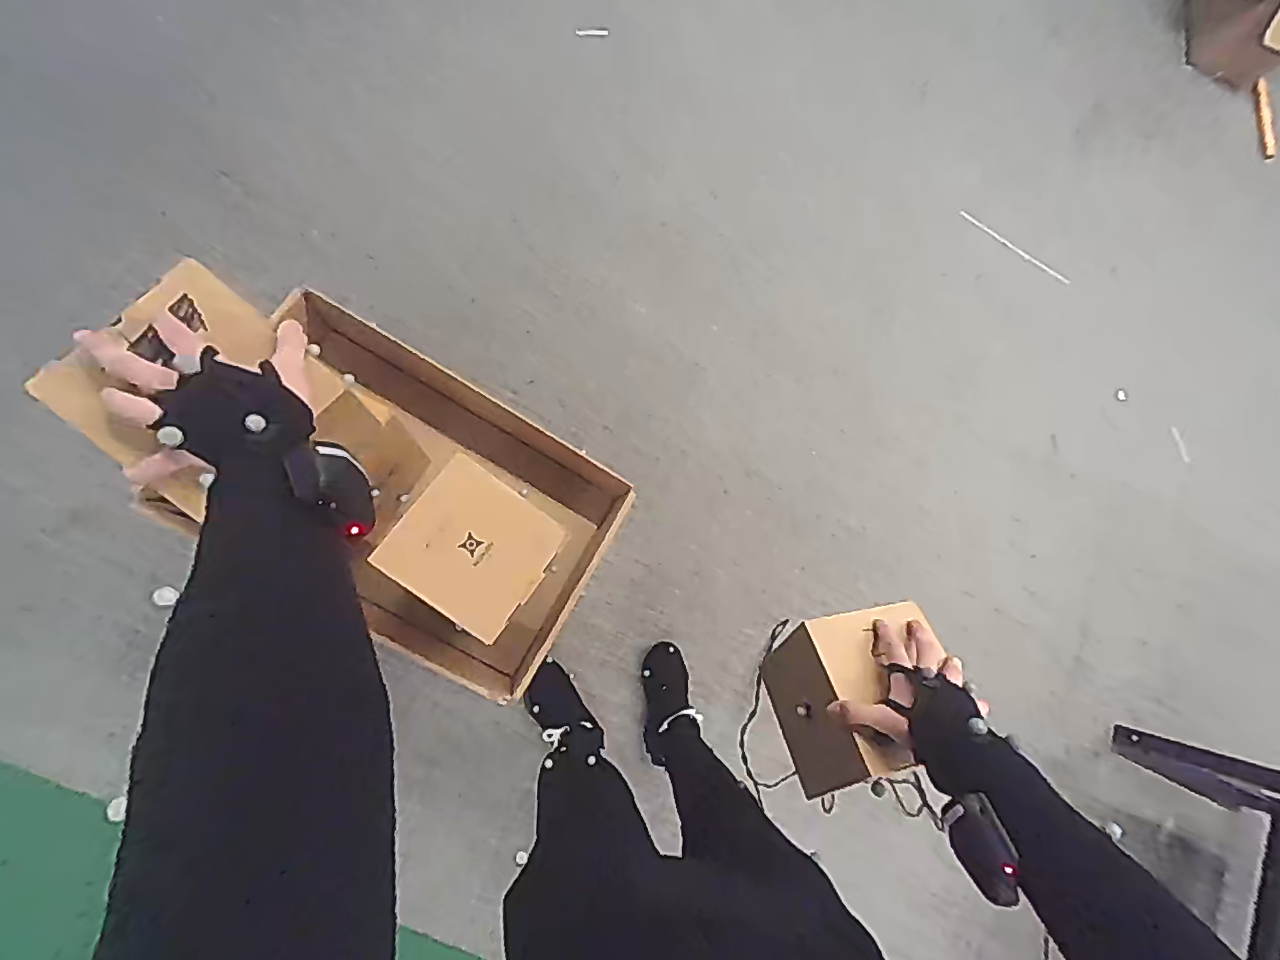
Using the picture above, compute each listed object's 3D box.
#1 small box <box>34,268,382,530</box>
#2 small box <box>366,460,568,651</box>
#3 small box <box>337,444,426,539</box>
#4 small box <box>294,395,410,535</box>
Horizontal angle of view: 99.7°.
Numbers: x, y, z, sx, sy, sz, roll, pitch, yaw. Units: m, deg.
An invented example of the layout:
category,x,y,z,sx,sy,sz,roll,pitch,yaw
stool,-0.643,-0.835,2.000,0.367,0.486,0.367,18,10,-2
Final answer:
category,x,y,z,sx,sy,sz,roll,pitch,yaw
small box,-0.396,-0.062,0.540,0.179,0.176,0.168,41,74,-6
small box,-0.220,0.099,0.724,0.179,0.176,0.168,38,74,-5
small box,-0.468,-0.015,0.854,0.179,0.176,0.168,32,76,-7
small box,-0.428,-0.038,0.699,0.179,0.176,0.168,31,75,-8
